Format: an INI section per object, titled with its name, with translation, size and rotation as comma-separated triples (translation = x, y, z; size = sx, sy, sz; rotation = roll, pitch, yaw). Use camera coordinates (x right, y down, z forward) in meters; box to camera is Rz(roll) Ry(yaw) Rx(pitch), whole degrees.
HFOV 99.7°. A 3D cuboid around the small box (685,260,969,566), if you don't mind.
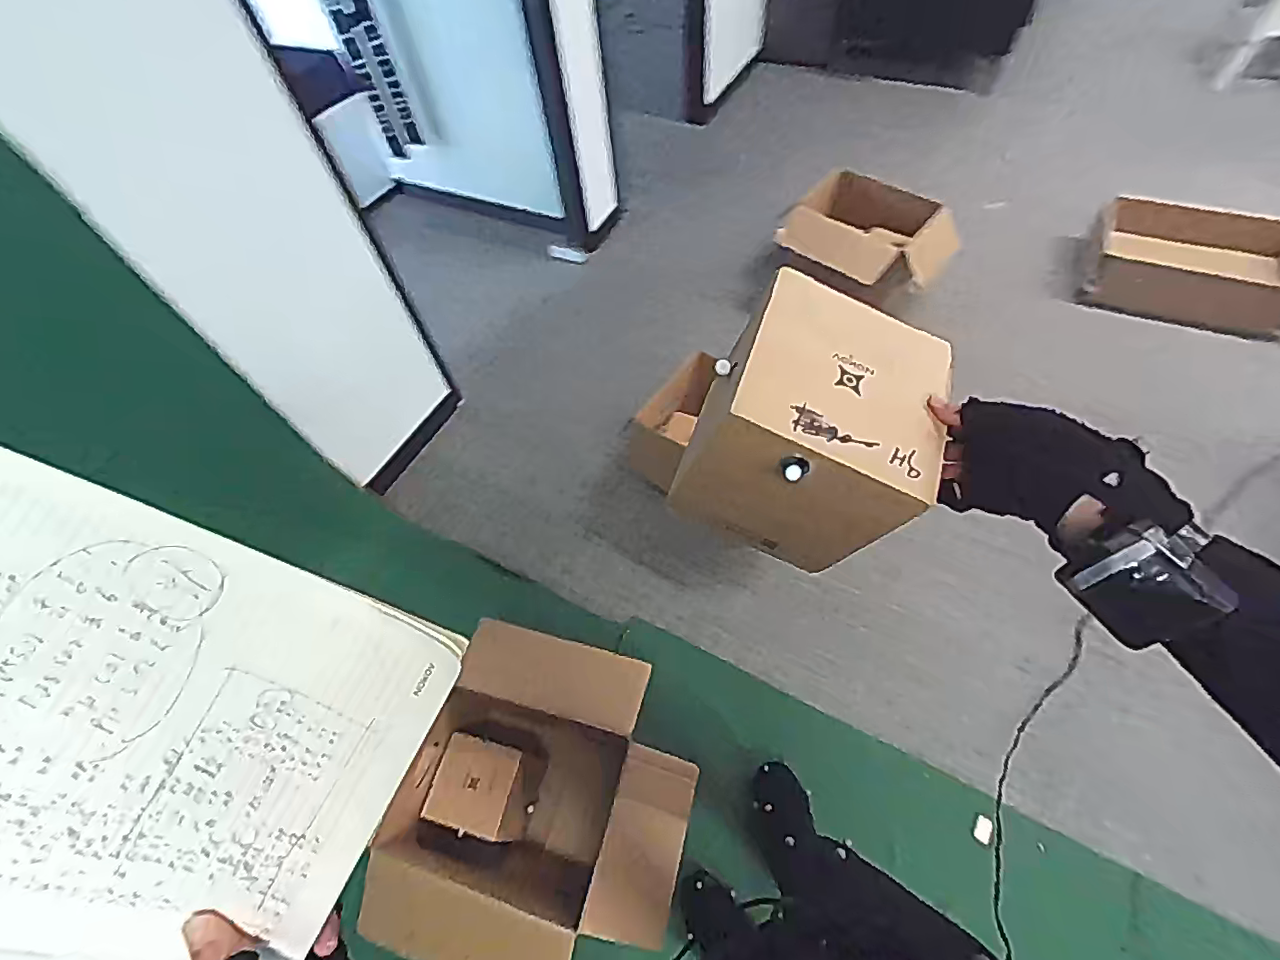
[small box]
translation = 0.158, -0.050, 0.487
size = 0.168, 0.176, 0.179
rotation = 26, 61, -2
